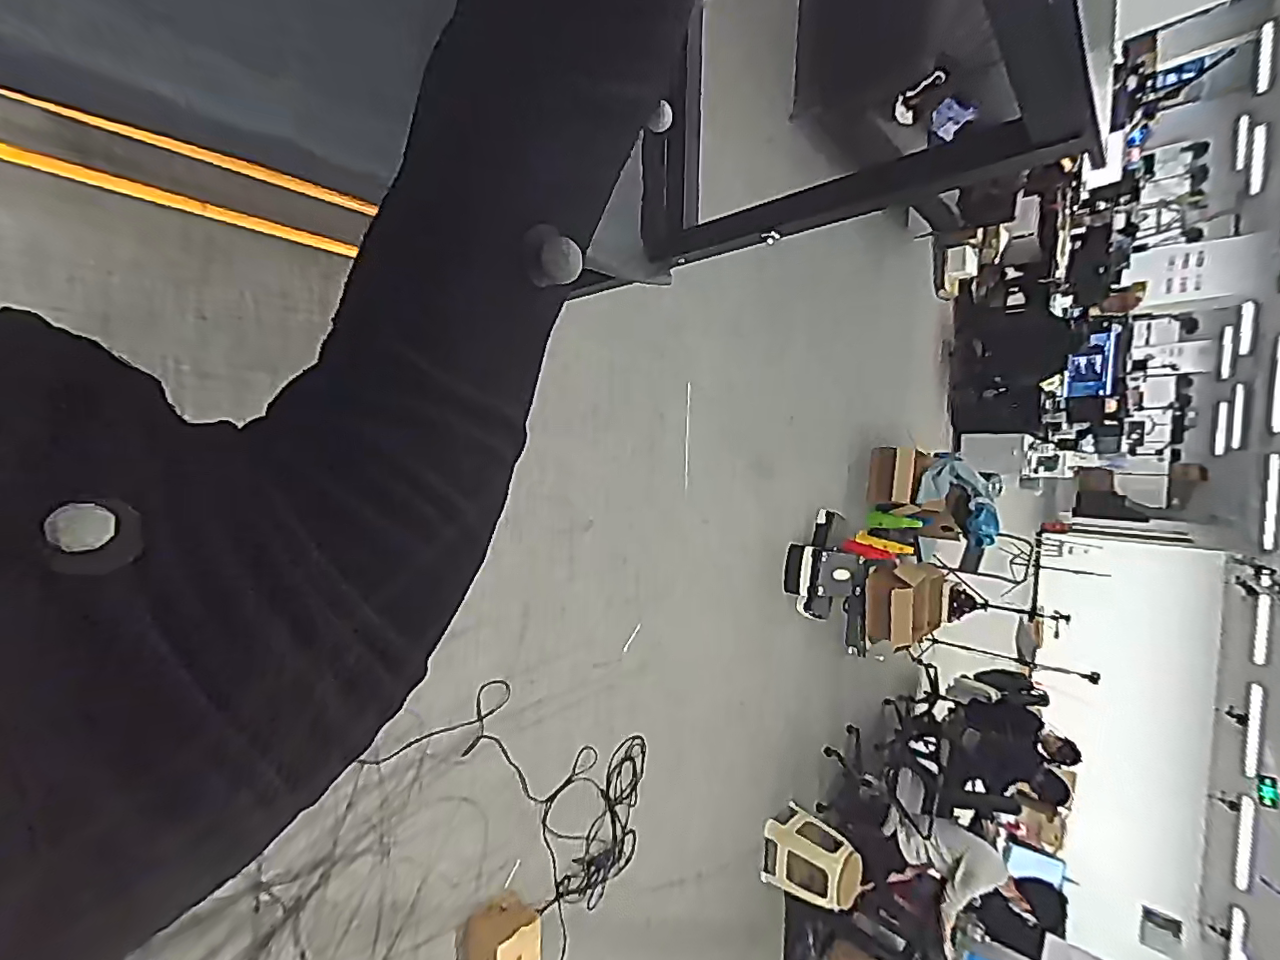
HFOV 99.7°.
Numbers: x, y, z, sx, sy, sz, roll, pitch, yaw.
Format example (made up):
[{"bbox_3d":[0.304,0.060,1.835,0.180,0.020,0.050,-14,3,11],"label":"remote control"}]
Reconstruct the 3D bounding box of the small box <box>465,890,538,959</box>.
[{"bbox_3d":[-0.449,1.492,1.747,0.168,0.176,0.179,-1,93,-47],"label":"small box"}]
